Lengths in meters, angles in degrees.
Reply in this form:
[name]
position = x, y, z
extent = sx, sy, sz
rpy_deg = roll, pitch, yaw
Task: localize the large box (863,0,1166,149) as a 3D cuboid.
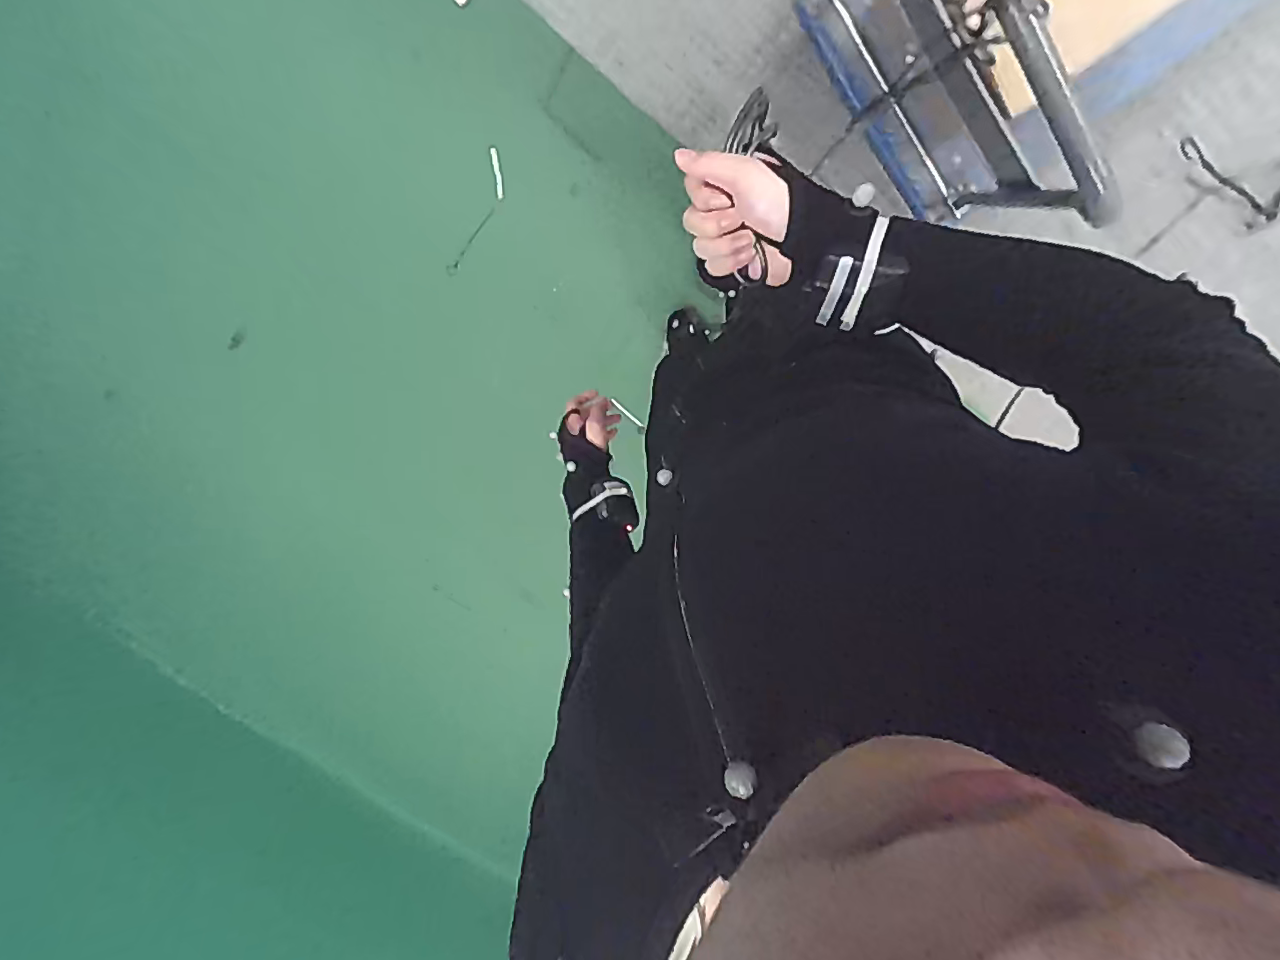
[large box]
position = 0.662, -0.853, 0.904
extent = 0.408, 0.320, 0.320
rpy_deg = -33, 106, 20
